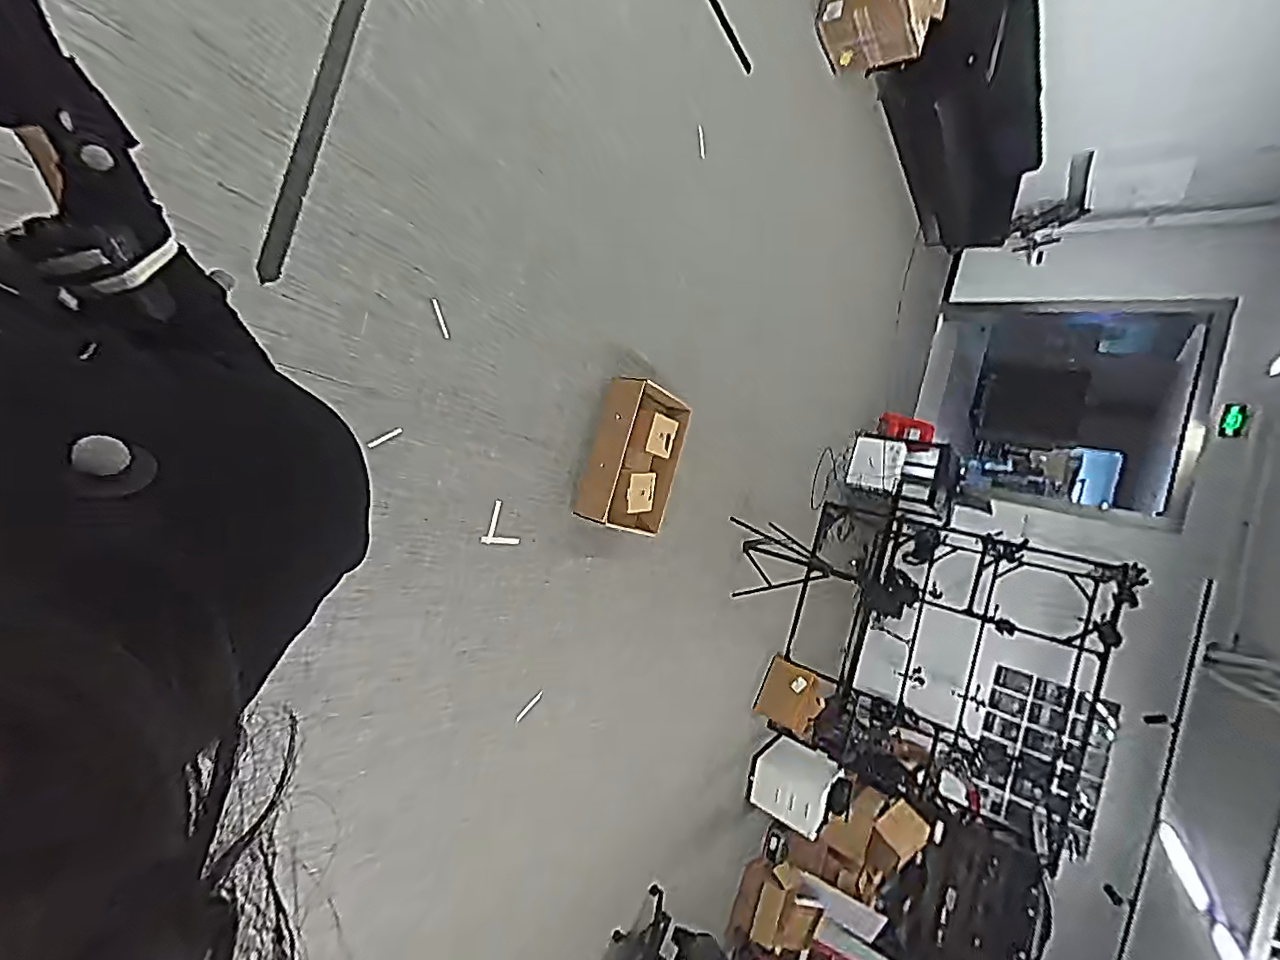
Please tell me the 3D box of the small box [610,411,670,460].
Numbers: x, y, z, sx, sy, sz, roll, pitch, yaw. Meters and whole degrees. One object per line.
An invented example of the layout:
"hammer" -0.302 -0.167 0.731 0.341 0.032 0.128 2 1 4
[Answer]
"small box" 0.000 -0.195 2.329 0.179 0.176 0.168 16 88 -54
